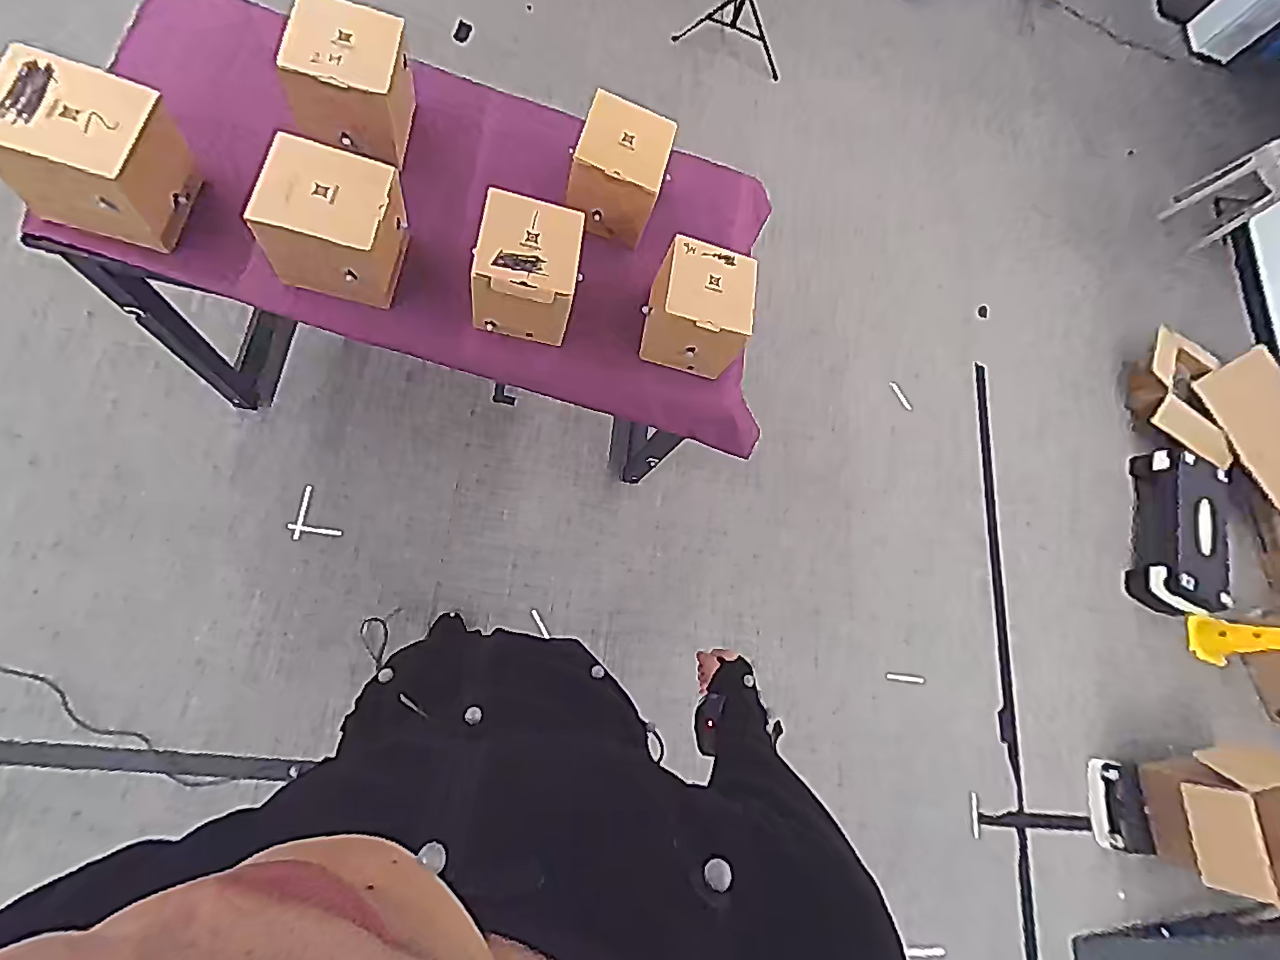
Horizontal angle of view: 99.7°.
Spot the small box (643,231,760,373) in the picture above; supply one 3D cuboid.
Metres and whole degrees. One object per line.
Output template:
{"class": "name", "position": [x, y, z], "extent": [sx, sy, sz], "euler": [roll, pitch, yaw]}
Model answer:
{"class": "small box", "position": [0.112, -0.330, 1.038], "extent": [0.168, 0.176, 0.179], "euler": [14, 71, -12]}

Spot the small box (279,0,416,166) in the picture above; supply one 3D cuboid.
{"class": "small box", "position": [-0.505, -0.709, 0.964], "extent": [0.168, 0.176, 0.179], "euler": [8, 74, -14]}

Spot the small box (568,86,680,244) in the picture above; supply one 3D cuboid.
{"class": "small box", "position": [-0.039, -0.615, 1.074], "extent": [0.168, 0.176, 0.179], "euler": [17, 73, -11]}

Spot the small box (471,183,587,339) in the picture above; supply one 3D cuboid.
{"class": "small box", "position": [-0.198, -0.377, 0.963], "extent": [0.168, 0.176, 0.179], "euler": [10, 72, -13]}

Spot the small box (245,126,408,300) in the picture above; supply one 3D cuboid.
{"class": "small box", "position": [-0.496, -0.424, 0.890], "extent": [0.179, 0.176, 0.168], "euler": [12, 72, -14]}
